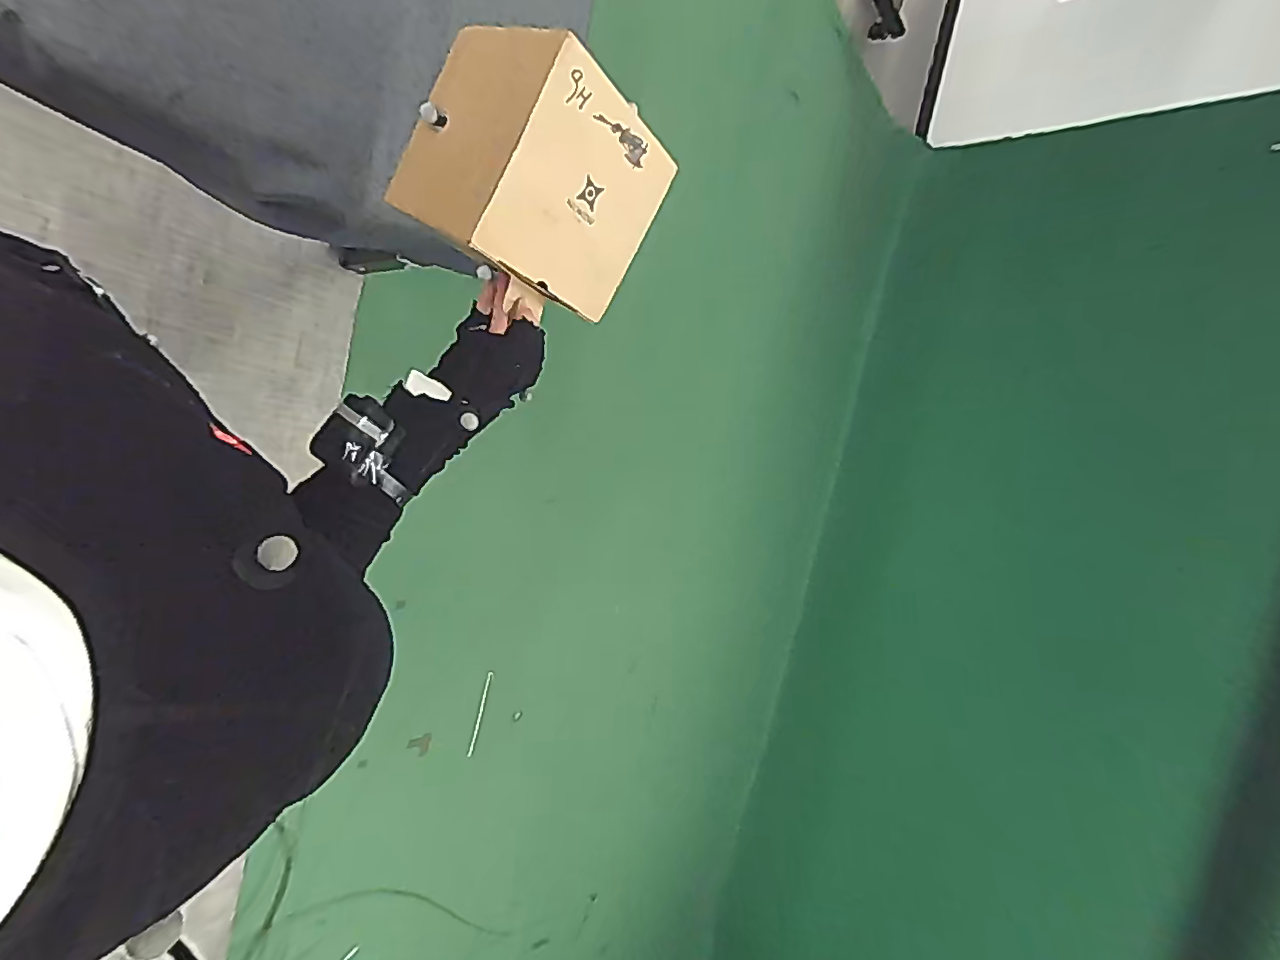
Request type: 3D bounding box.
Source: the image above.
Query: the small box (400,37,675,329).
[{"bbox_3d":[-0.105,-0.284,0.530,0.168,0.176,0.179,16,107,-56],"label":"small box"}]
